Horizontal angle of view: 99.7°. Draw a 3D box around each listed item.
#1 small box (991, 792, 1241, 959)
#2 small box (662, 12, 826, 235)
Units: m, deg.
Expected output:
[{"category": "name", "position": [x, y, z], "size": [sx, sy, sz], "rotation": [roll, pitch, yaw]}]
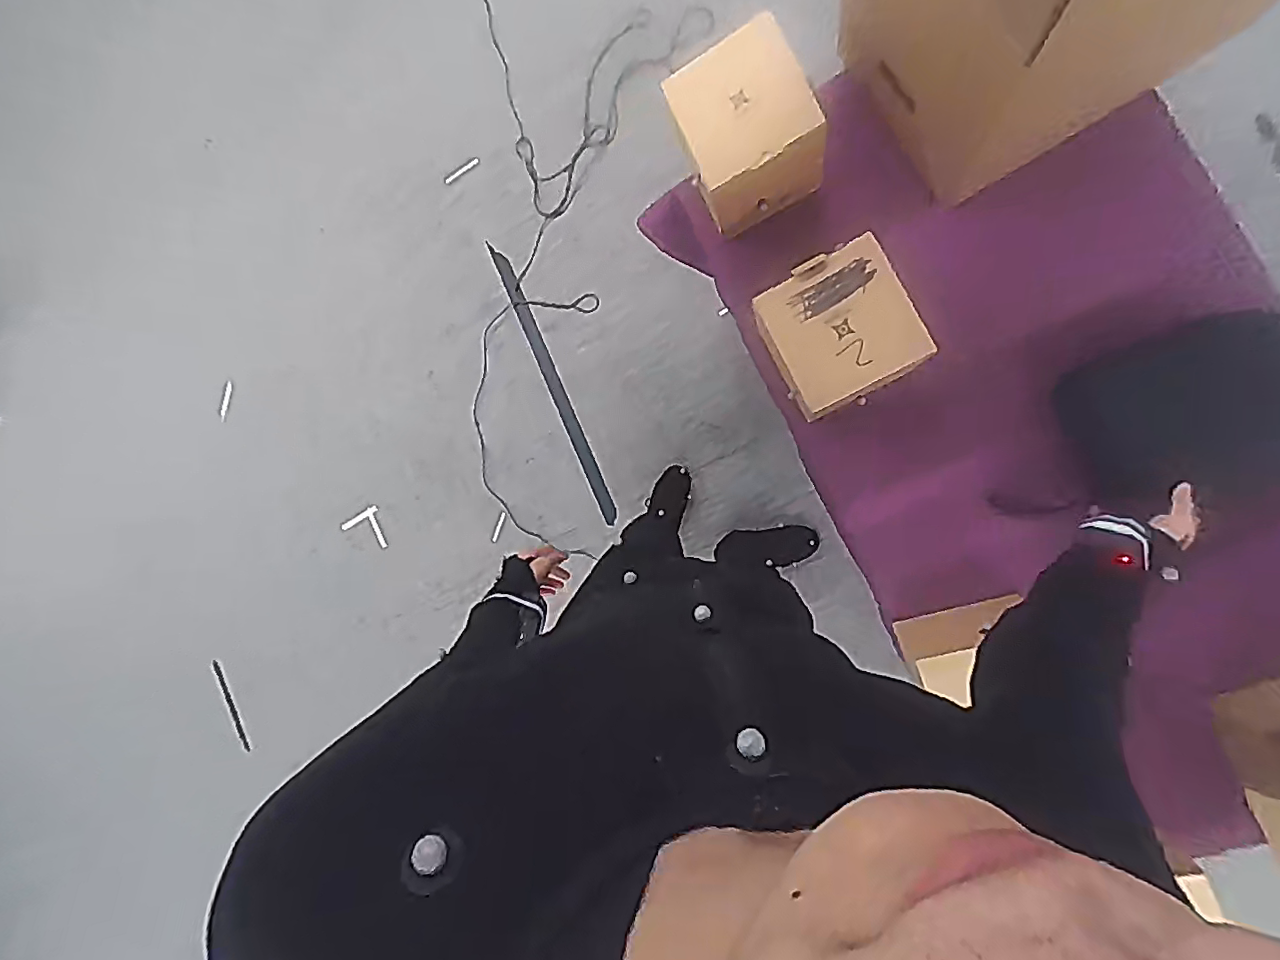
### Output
[{"category": "small box", "position": [0.593, 0.531, 0.690], "size": [0.179, 0.176, 0.168], "rotation": [-19, 85, 15]}, {"category": "small box", "position": [0.152, -0.501, 0.791], "size": [0.168, 0.176, 0.179], "rotation": [-26, 86, 15]}]
